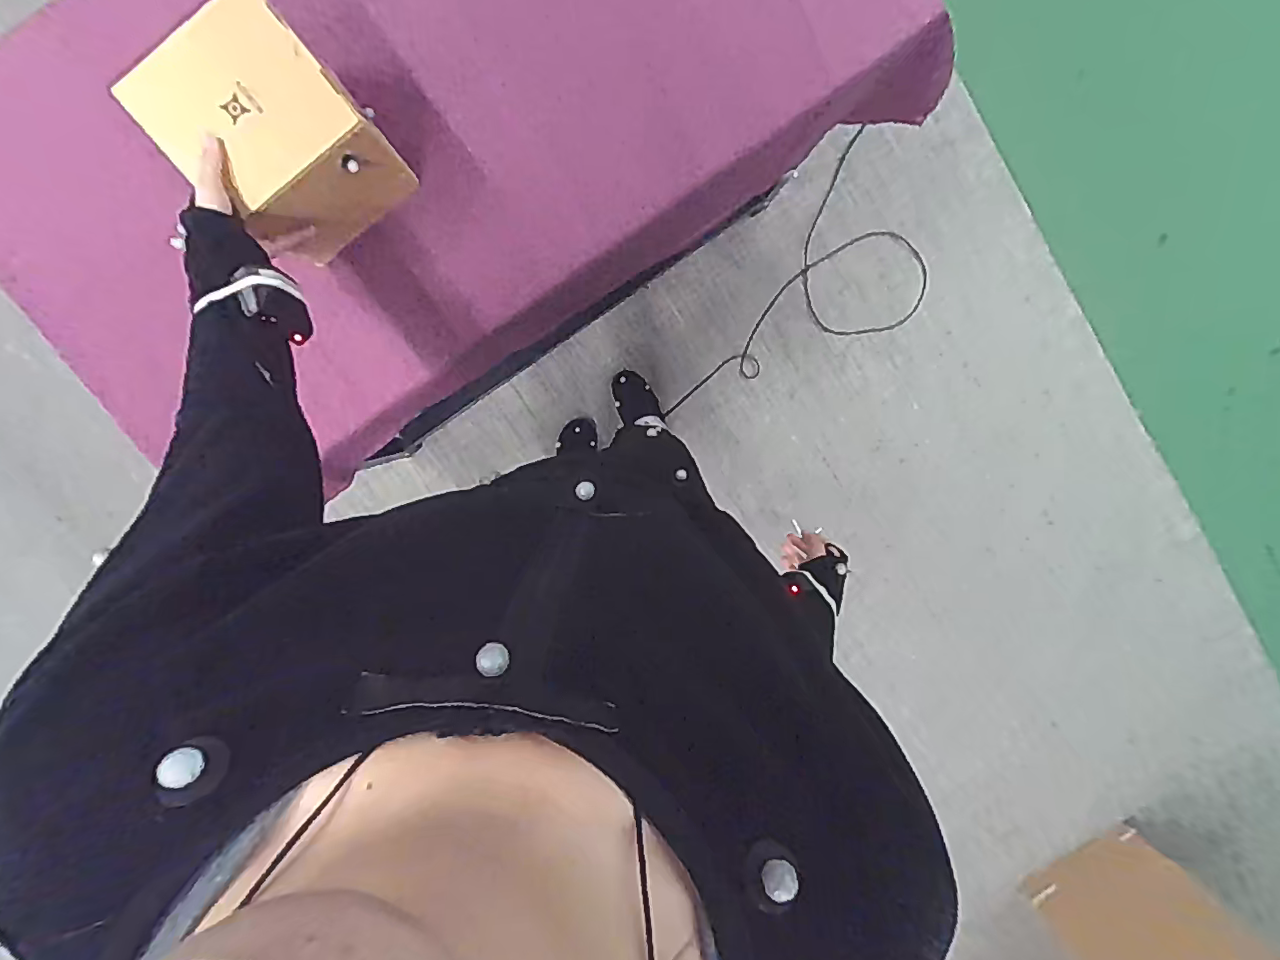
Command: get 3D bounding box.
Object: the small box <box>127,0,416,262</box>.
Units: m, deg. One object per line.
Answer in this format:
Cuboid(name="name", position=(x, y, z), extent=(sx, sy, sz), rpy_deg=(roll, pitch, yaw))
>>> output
Cuboid(name="small box", position=(-0.396, -0.382, 0.619), extent=(0.179, 0.176, 0.168), rpy_deg=(-39, 98, 2))
